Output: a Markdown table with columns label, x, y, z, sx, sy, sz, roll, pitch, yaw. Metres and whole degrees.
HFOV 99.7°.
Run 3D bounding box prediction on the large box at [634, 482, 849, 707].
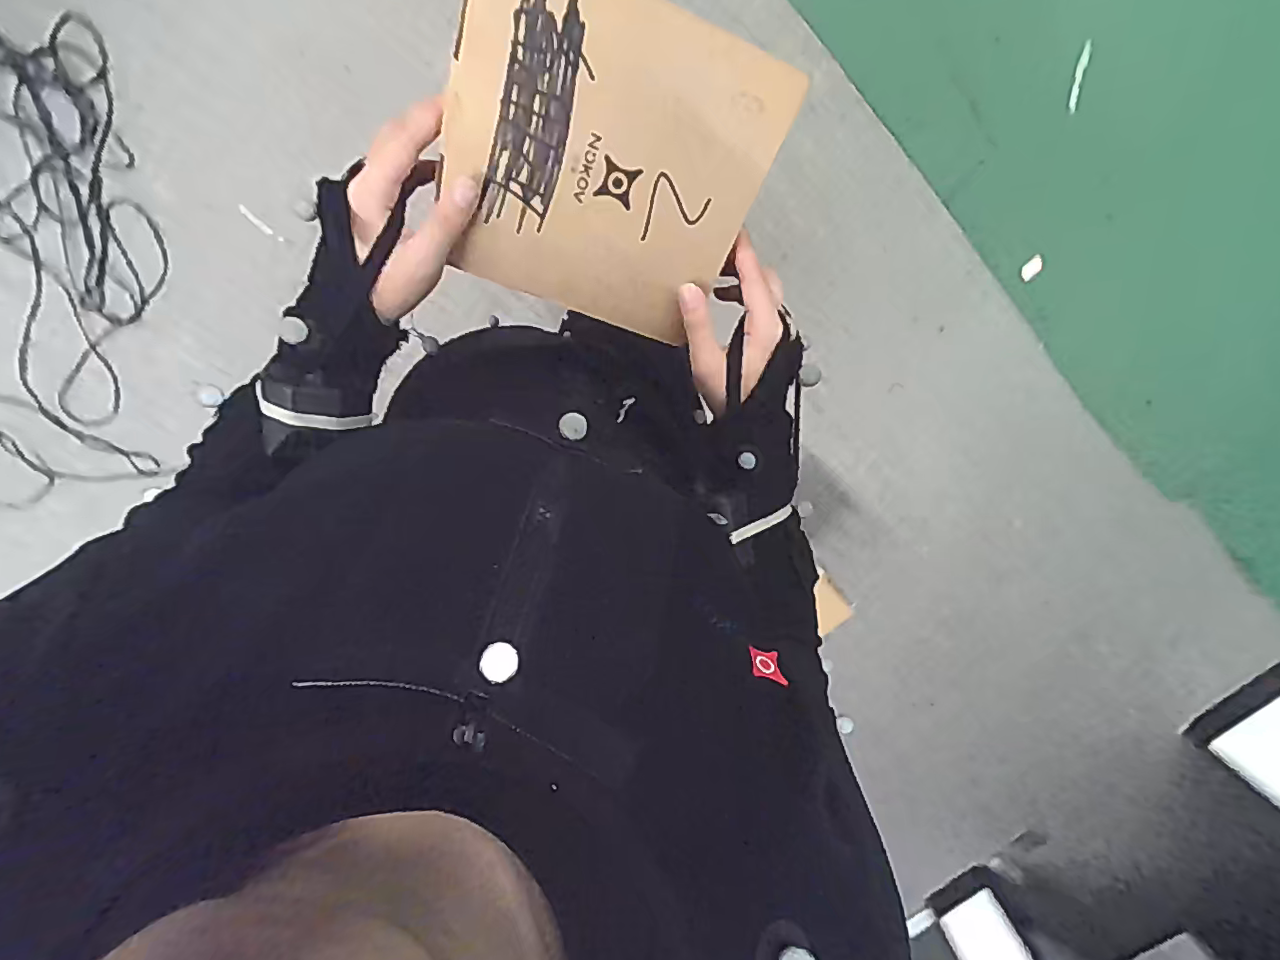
| label | x | y | z | sx | sy | sz | roll | pitch | yaw |
| --- | --- | --- | --- | --- | --- | --- | --- | --- | --- |
| large box | 0.237 | 0.284 | 1.390 | 0.408 | 0.320 | 0.320 | -42 | 110 | 14 |
